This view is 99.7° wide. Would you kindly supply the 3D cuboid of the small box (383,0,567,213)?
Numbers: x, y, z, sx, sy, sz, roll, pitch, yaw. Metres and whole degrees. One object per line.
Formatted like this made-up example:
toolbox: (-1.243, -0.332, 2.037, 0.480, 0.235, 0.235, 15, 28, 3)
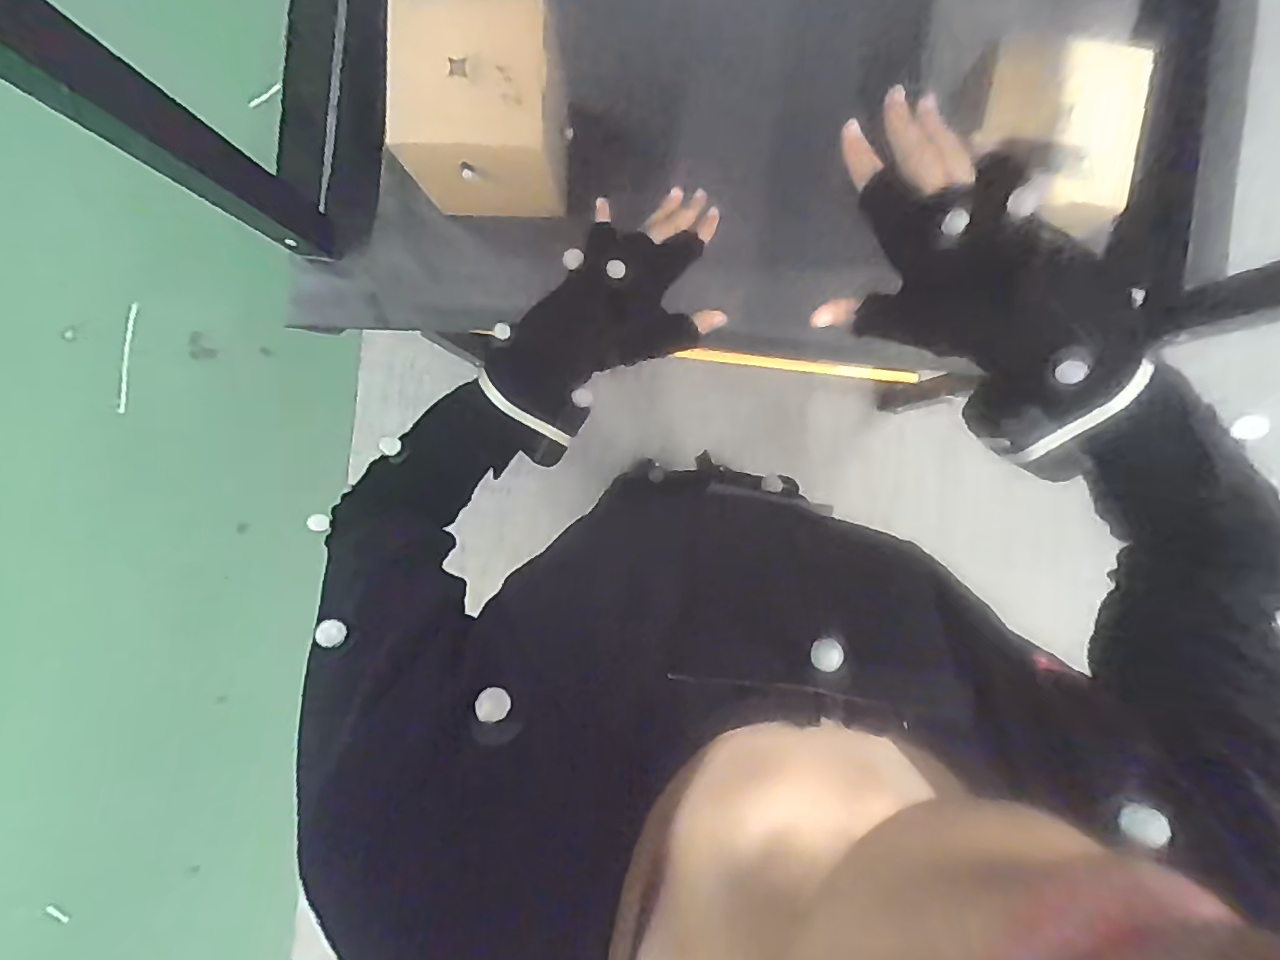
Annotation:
small box: (-0.192, -0.452, 0.672, 0.179, 0.176, 0.168, 2, 92, 0)
